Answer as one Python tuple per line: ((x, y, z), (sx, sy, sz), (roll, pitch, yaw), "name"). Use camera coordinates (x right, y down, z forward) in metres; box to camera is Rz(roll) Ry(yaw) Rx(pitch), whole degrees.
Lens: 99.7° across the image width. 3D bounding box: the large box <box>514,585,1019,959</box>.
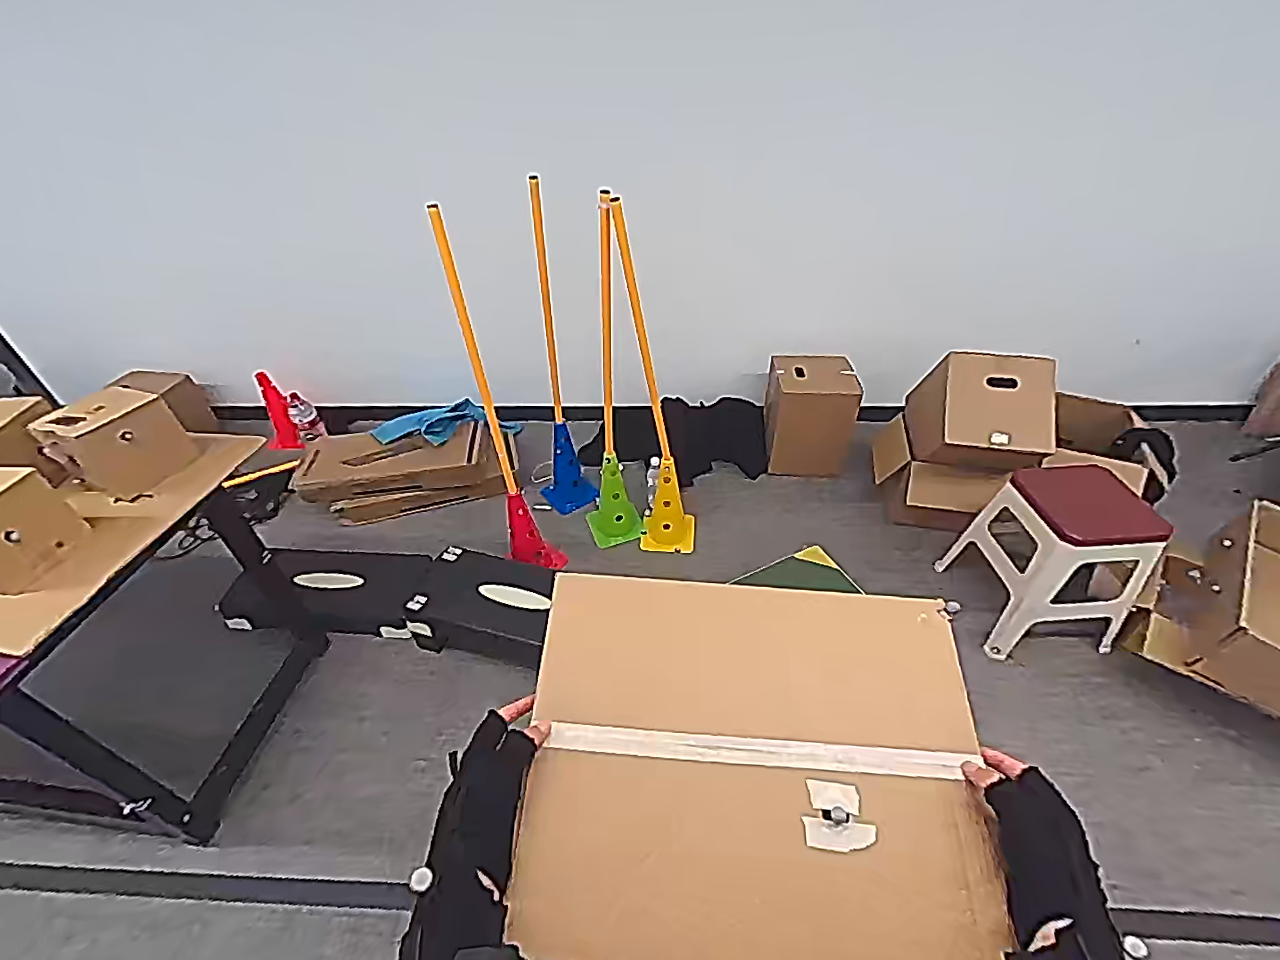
((0.103, 0.334, 0.623), (0.408, 0.320, 0.320), (4, 58, 2), "large box")
